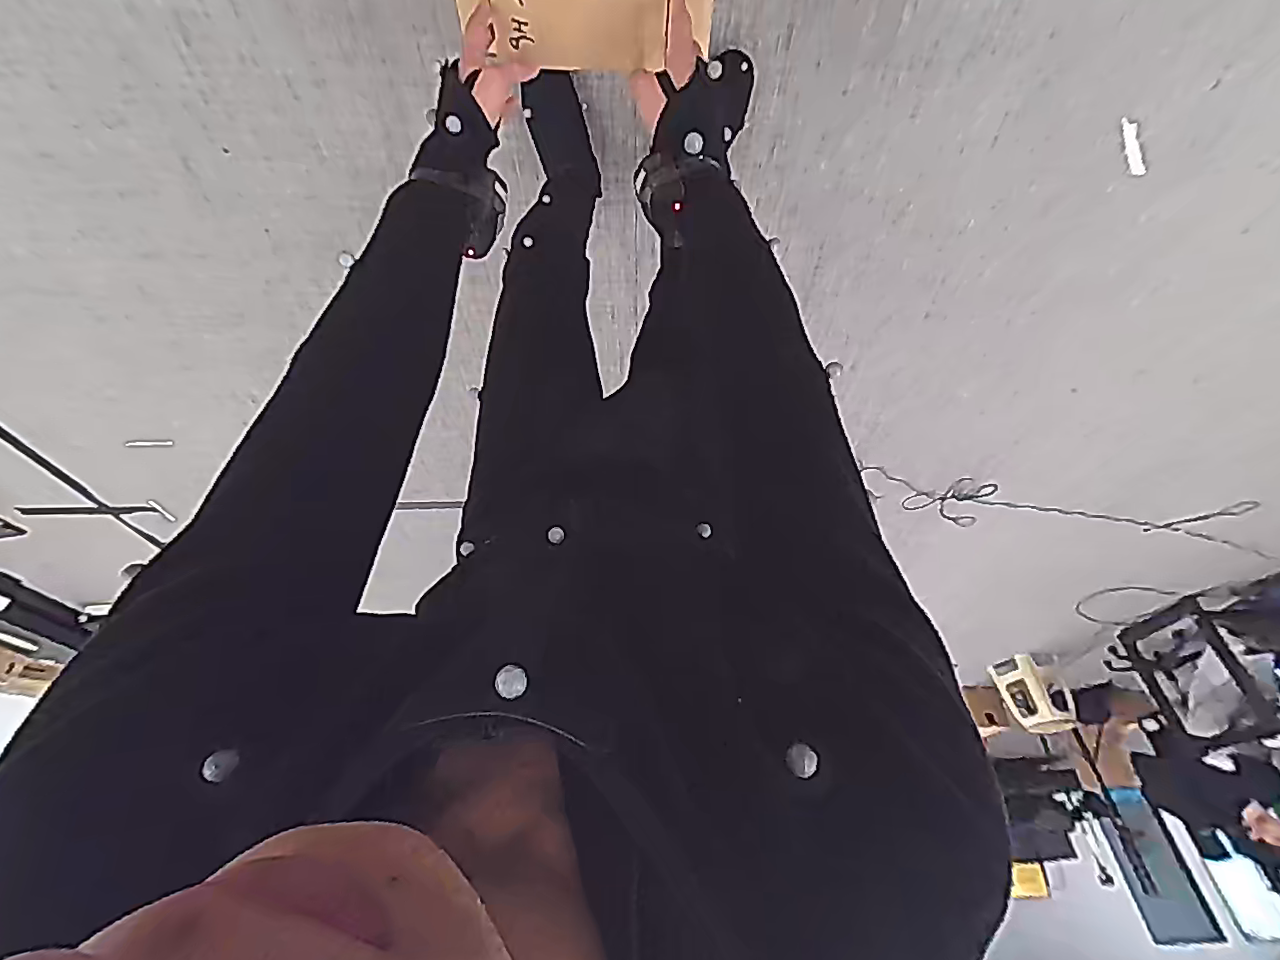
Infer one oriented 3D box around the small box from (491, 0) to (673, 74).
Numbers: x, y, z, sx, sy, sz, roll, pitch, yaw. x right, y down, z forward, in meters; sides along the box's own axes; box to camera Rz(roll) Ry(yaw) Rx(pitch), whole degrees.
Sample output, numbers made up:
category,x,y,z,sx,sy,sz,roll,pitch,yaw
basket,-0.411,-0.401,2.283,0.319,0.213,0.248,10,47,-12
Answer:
category,x,y,z,sx,sy,sz,roll,pitch,yaw
small box,-0.059,-0.537,0.542,0.179,0.176,0.168,-1,144,-3
